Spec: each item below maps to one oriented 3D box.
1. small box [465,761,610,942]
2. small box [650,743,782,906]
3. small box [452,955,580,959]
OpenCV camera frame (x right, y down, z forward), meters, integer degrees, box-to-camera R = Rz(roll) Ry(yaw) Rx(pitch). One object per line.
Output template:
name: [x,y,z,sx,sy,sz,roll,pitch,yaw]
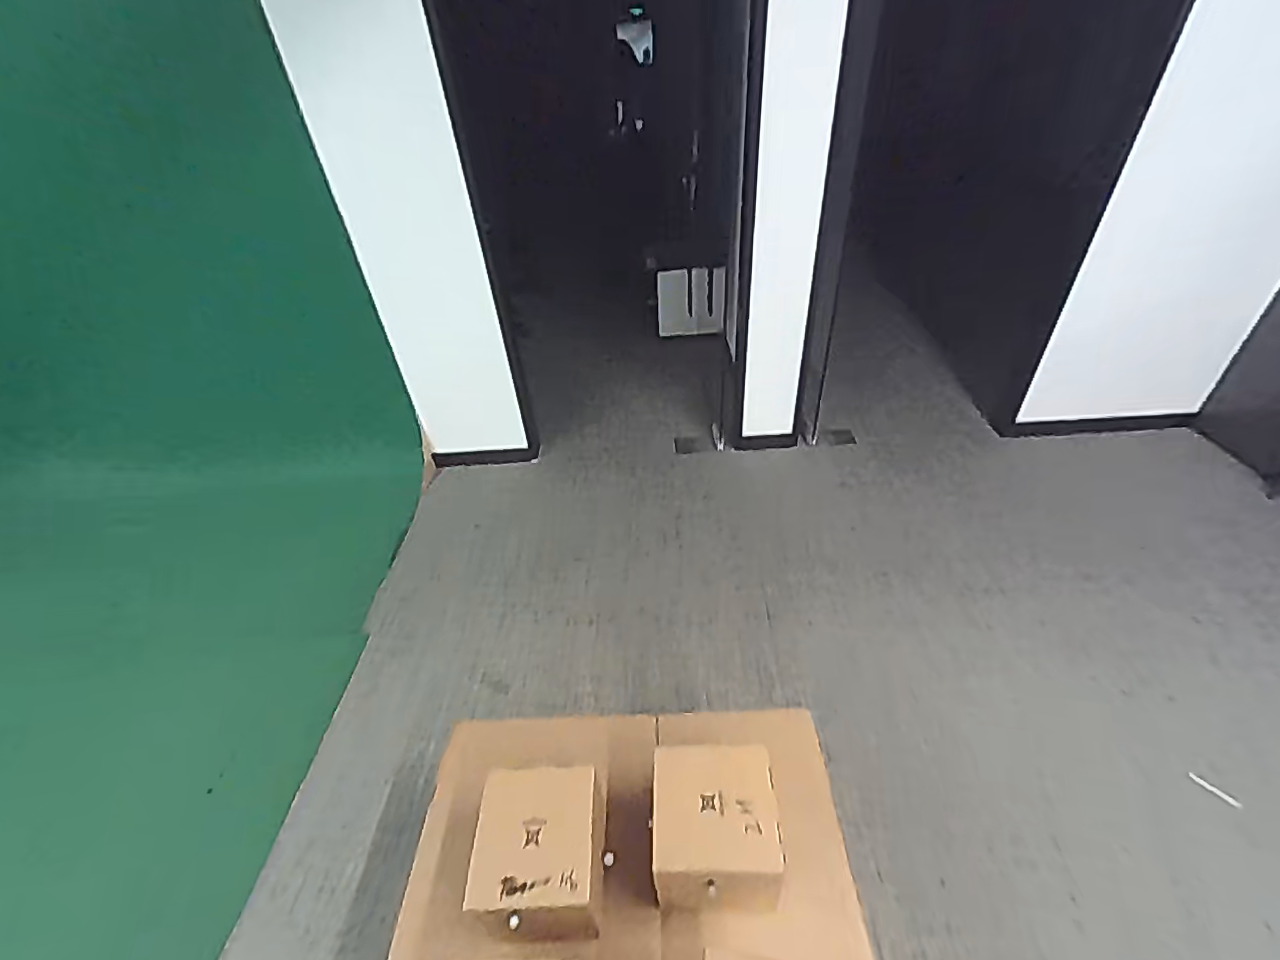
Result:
small box: [-0.138,0.549,0.804,0.168,0.176,0.179,-5,37,3]
small box: [0.113,0.518,0.816,0.179,0.176,0.168,-3,38,6]
small box: [-0.142,0.688,0.631,0.168,0.176,0.179,-3,38,4]
